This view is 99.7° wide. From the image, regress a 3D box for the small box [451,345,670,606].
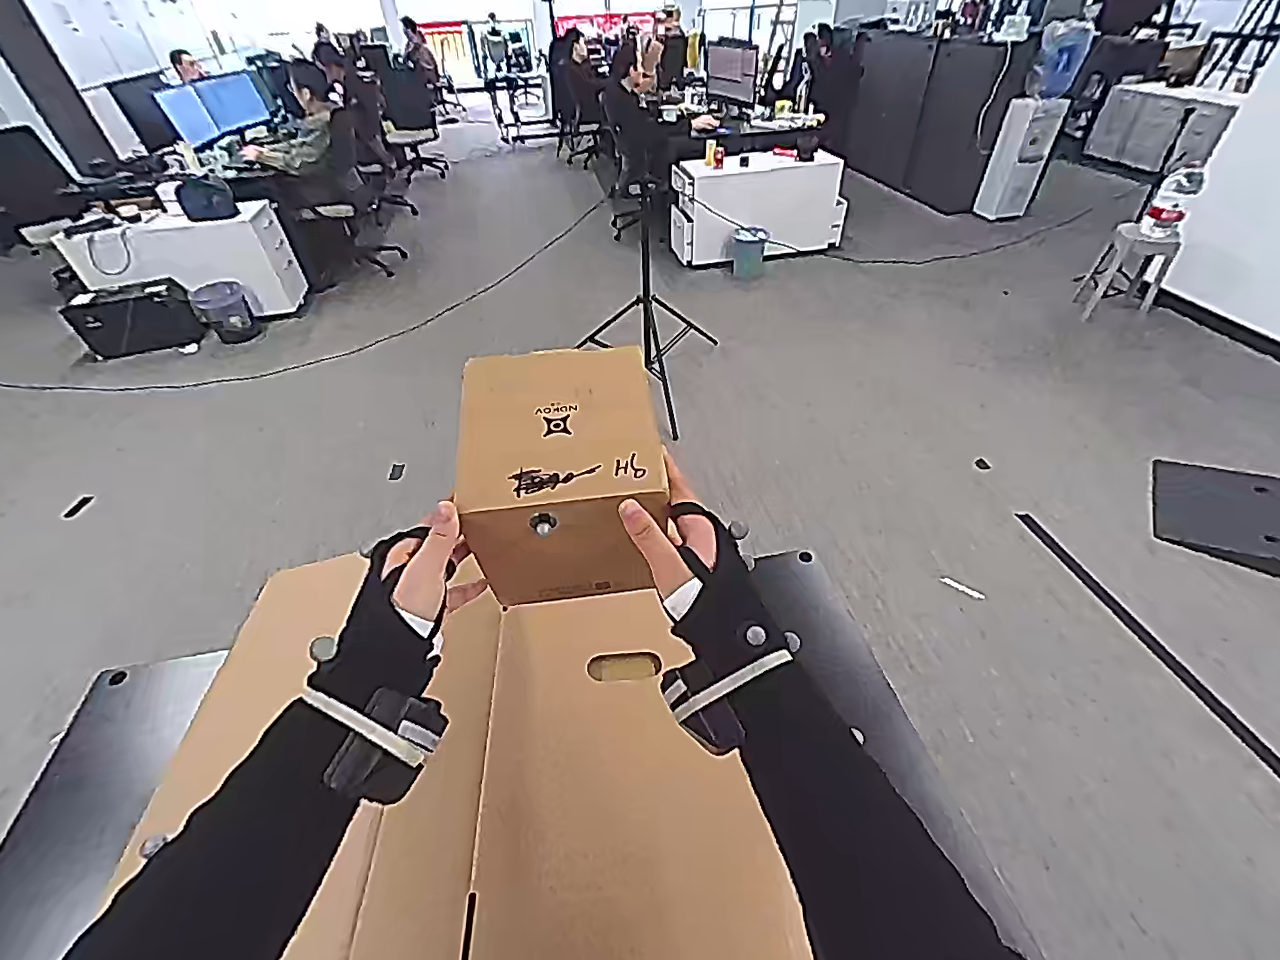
[{"bbox_3d":[-0.068,-0.002,0.515,0.168,0.176,0.179,-7,53,-4],"label":"small box"}]
